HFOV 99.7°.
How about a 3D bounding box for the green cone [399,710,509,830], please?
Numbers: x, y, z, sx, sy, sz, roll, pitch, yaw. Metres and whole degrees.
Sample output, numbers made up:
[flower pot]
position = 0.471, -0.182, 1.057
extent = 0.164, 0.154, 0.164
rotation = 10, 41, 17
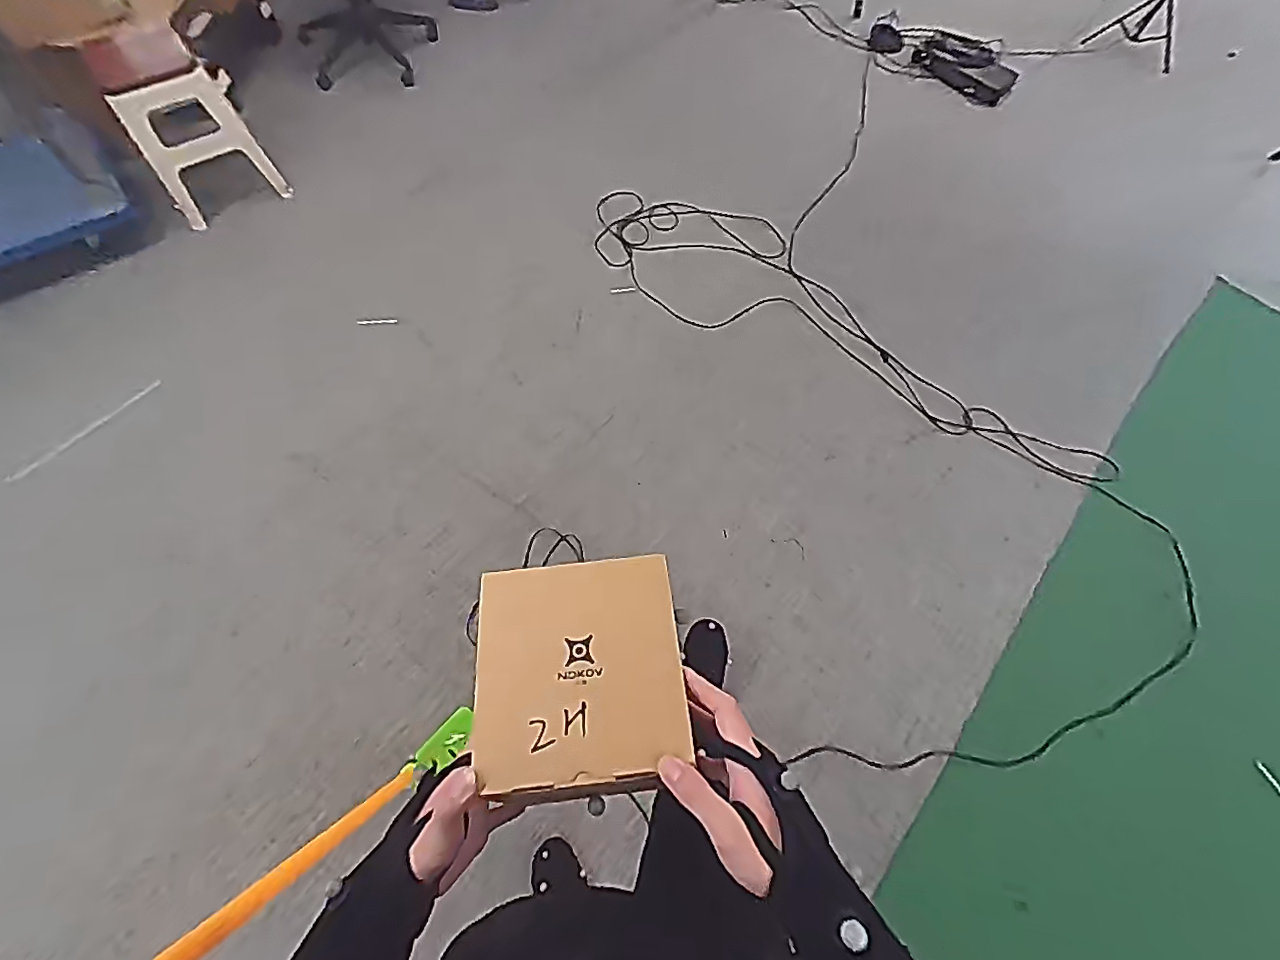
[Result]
[green cone]
position = -0.440, 0.627, 1.161
extent = 0.200, 0.368, 0.202
rotation = 40, 68, 14
